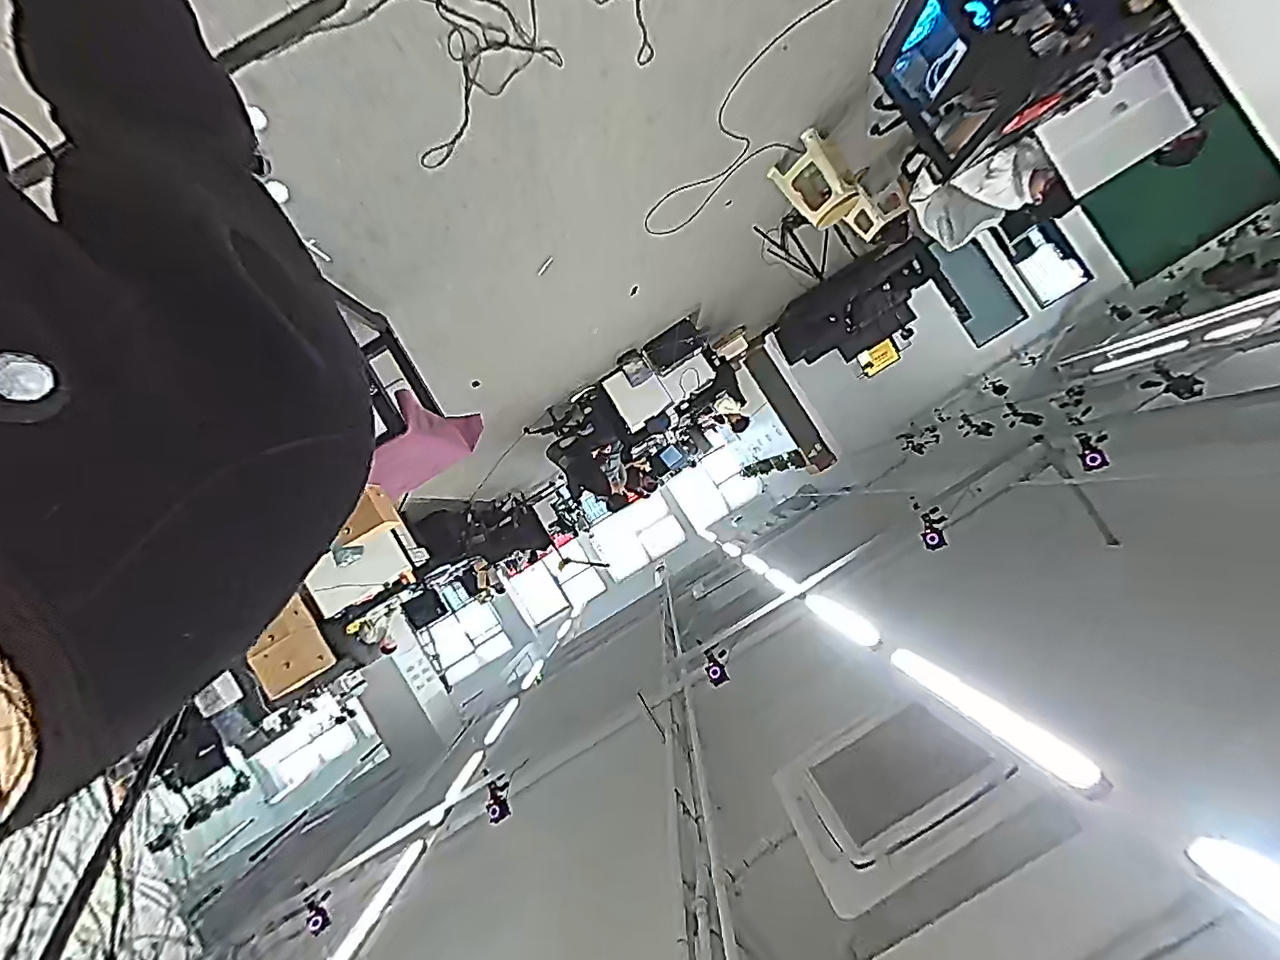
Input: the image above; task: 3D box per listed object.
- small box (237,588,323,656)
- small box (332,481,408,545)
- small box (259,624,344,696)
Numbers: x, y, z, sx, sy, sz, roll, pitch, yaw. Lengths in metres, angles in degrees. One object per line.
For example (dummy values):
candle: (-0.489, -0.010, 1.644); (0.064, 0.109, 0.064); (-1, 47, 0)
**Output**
small box: (-1.328, 0.515, 1.998); (0.168, 0.176, 0.179); (-32, 178, -5)
small box: (-1.010, 0.124, 2.012); (0.179, 0.176, 0.168); (-32, 178, -4)
small box: (-1.242, 0.653, 1.984); (0.168, 0.176, 0.179); (-33, 178, -5)
